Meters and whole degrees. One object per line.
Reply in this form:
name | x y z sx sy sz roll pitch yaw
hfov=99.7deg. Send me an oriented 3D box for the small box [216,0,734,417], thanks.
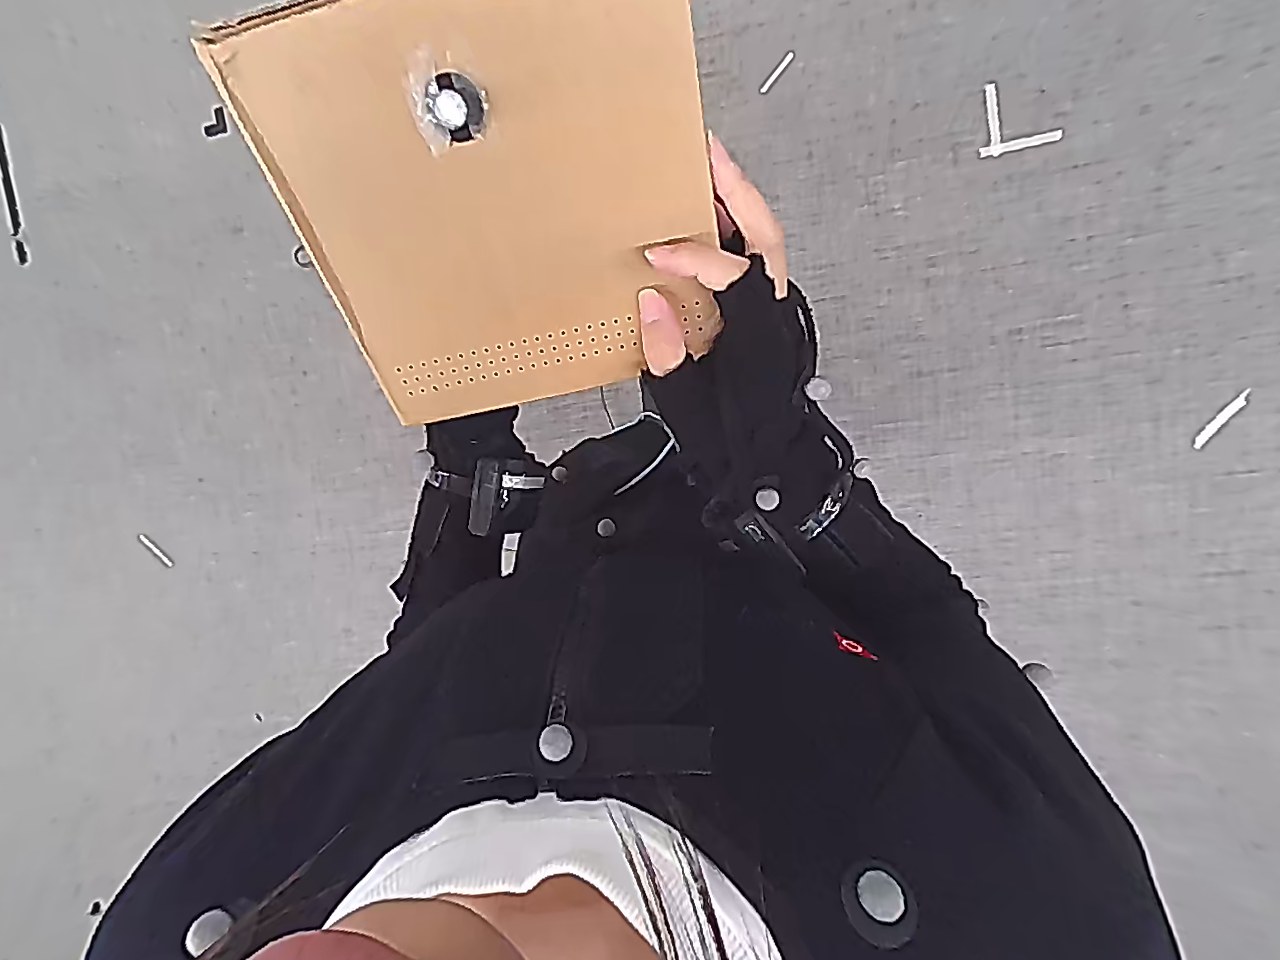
small box | -0.055 -0.152 0.296 0.179 0.168 0.176 -11 126 6
